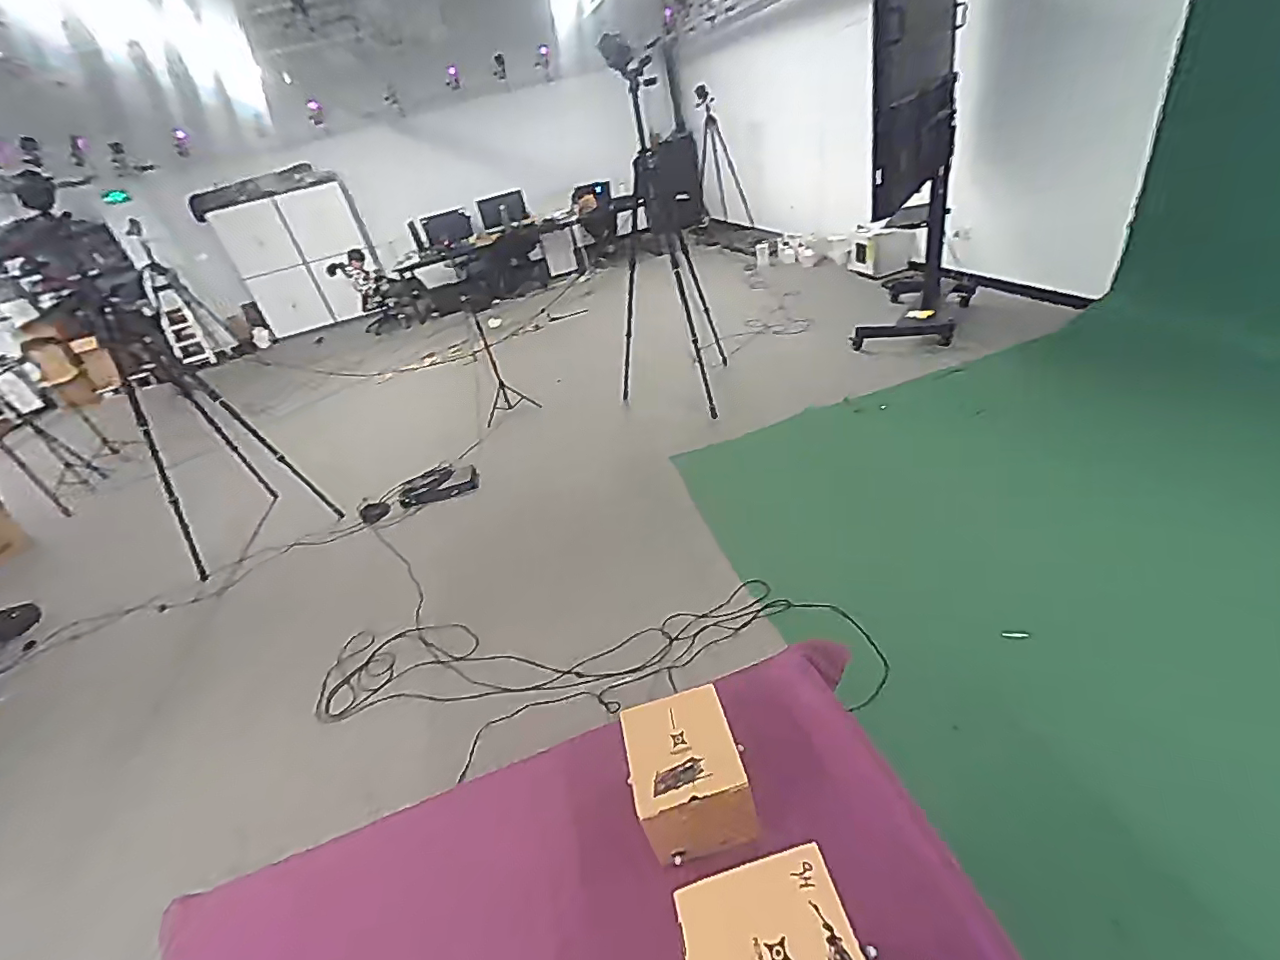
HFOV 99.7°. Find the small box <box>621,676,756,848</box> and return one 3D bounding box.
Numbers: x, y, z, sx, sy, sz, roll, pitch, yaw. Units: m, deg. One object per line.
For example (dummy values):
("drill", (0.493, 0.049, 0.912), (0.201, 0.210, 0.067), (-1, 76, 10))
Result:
("small box", (0.078, 0.459, 0.872), (0.168, 0.176, 0.179), (-16, 33, -2))

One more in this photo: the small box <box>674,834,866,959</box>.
("small box", (0.155, 0.531, 0.585), (0.179, 0.176, 0.168), (-21, 31, 3))
